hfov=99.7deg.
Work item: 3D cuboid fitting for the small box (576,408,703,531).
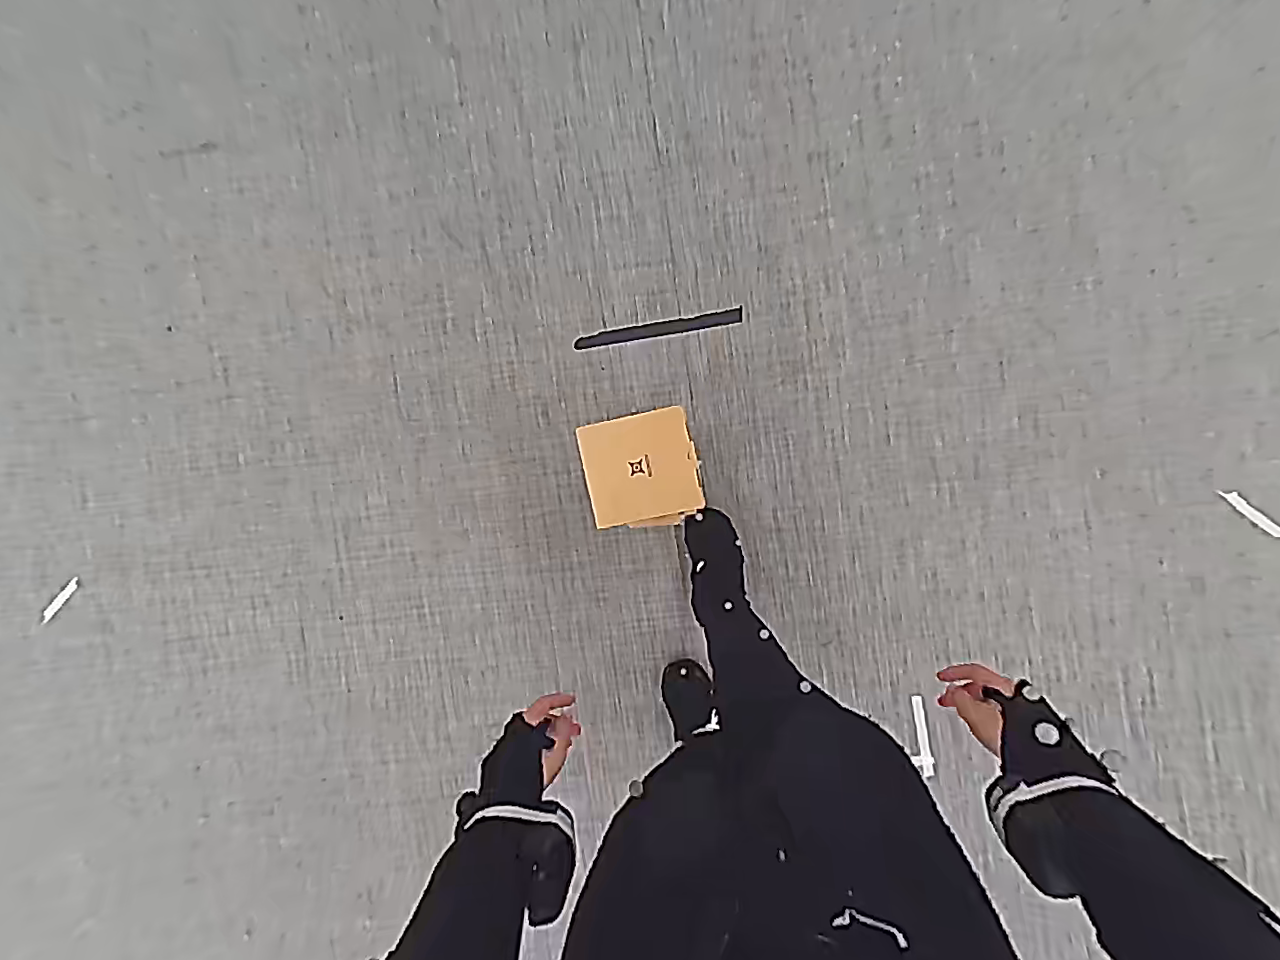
[{"bbox_3d":[0.005,-0.015,0.920,0.179,0.176,0.168,-13,90,4],"label":"small box"}]
